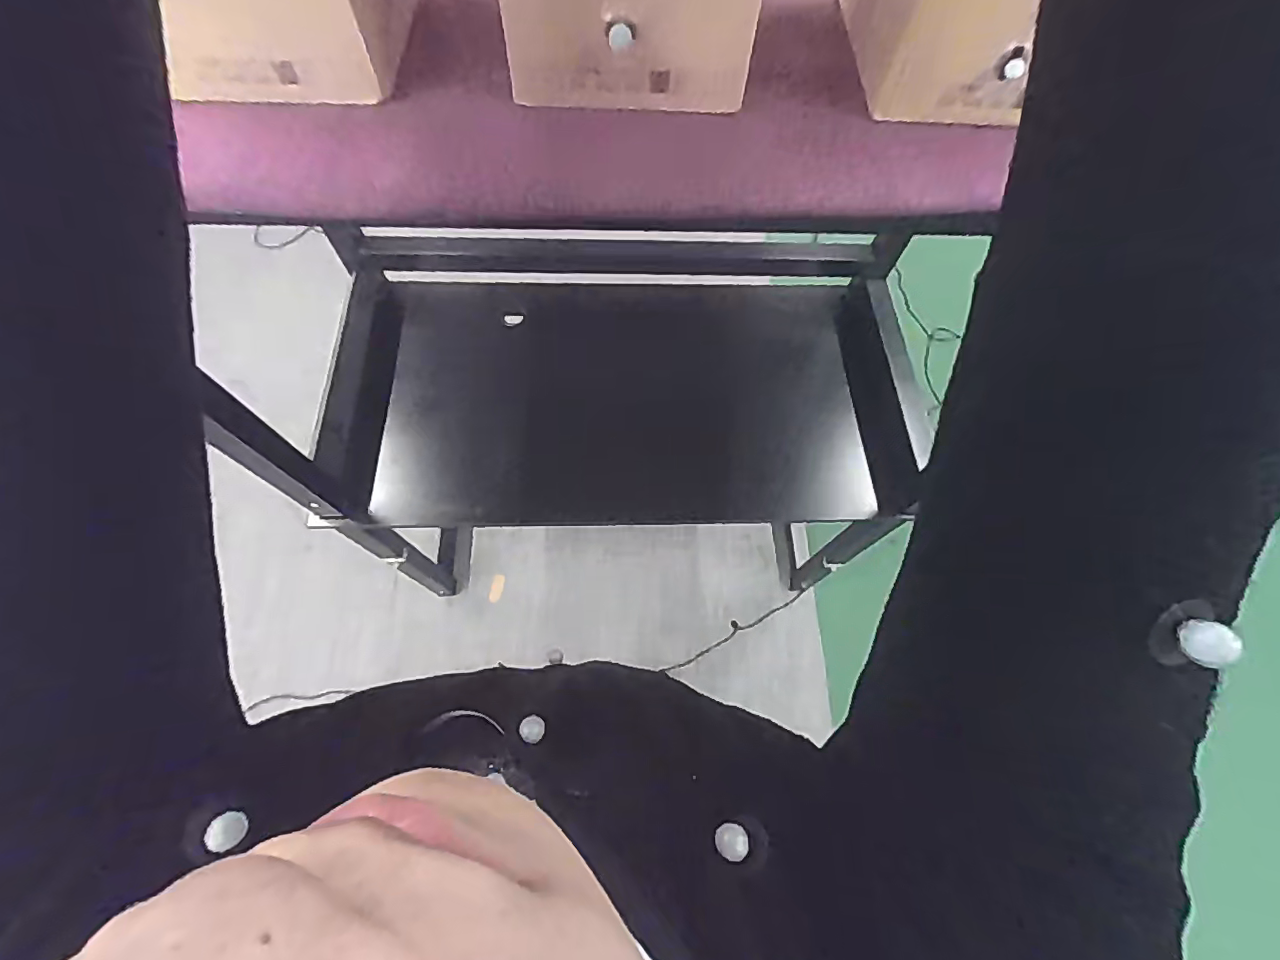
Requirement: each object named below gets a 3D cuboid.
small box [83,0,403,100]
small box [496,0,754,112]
[{"bbox_3d":[-0.263,-0.377,0.337,0.168,0.176,0.179,-1,65,-3],"label":"small box"},{"bbox_3d":[-0.010,-0.381,0.352,0.168,0.176,0.179,0,66,-2],"label":"small box"}]
